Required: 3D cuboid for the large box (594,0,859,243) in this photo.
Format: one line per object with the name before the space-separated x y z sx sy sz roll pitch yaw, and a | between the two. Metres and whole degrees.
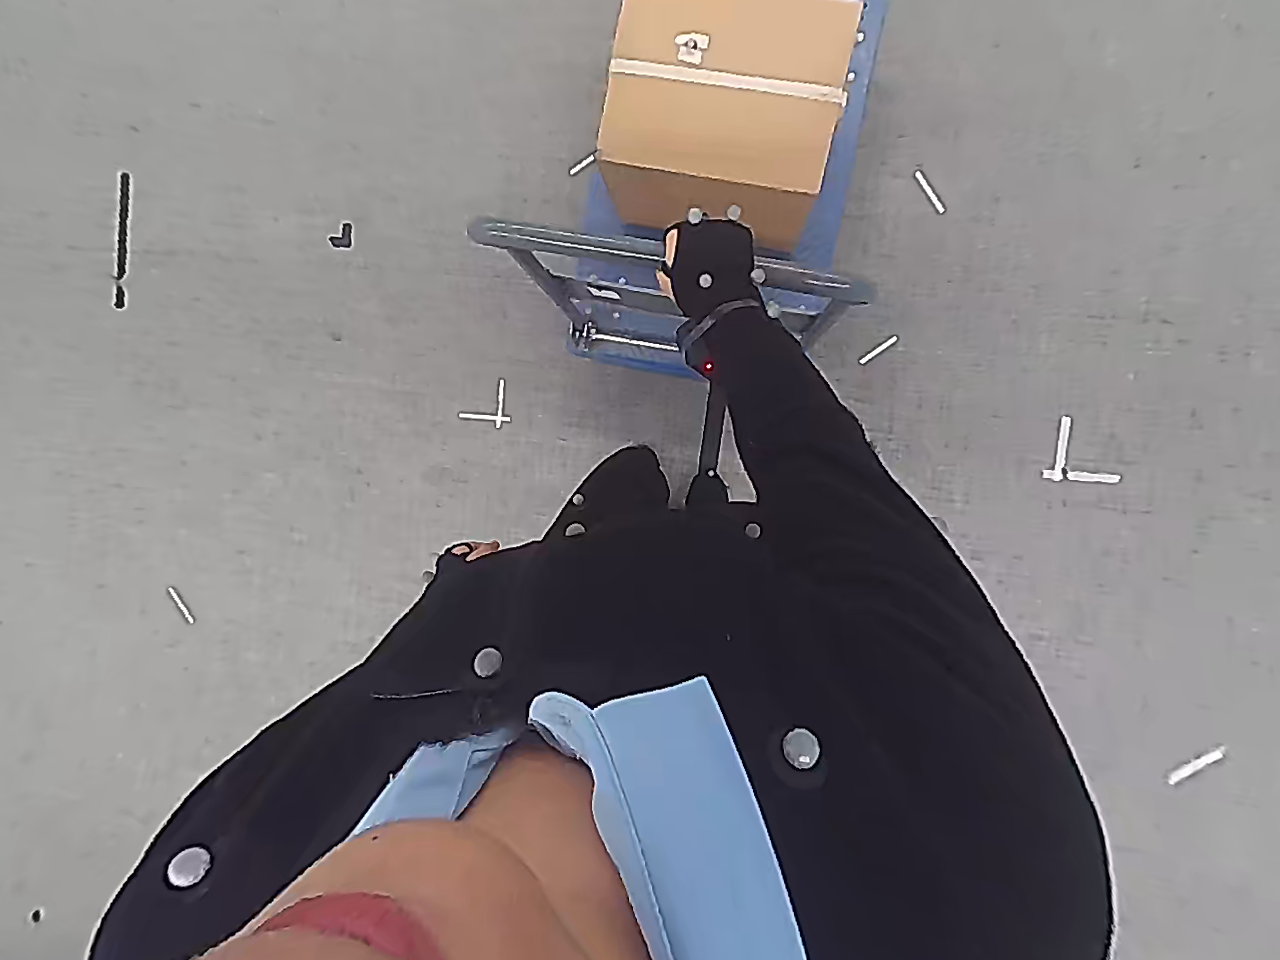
large box | 0.162 -0.696 1.066 0.408 0.320 0.320 13 96 8
